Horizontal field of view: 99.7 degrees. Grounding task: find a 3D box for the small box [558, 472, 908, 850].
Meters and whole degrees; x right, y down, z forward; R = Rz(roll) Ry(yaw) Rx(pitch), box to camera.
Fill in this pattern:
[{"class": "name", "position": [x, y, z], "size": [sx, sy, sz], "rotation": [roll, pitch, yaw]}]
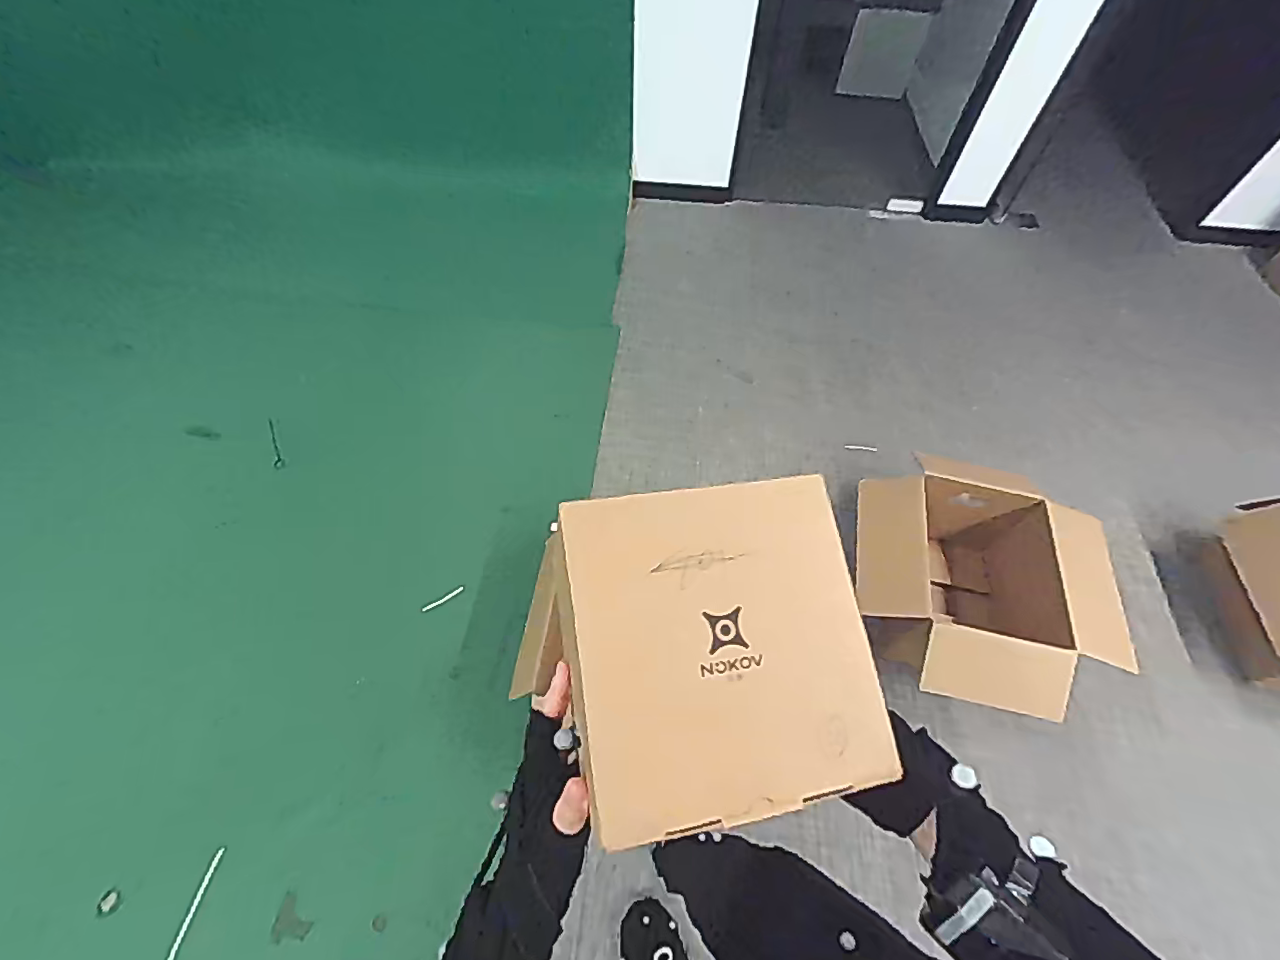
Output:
[{"class": "small box", "position": [0.038, 0.107, 0.367], "size": [0.168, 0.176, 0.179], "rotation": [-6, 74, -13]}]
